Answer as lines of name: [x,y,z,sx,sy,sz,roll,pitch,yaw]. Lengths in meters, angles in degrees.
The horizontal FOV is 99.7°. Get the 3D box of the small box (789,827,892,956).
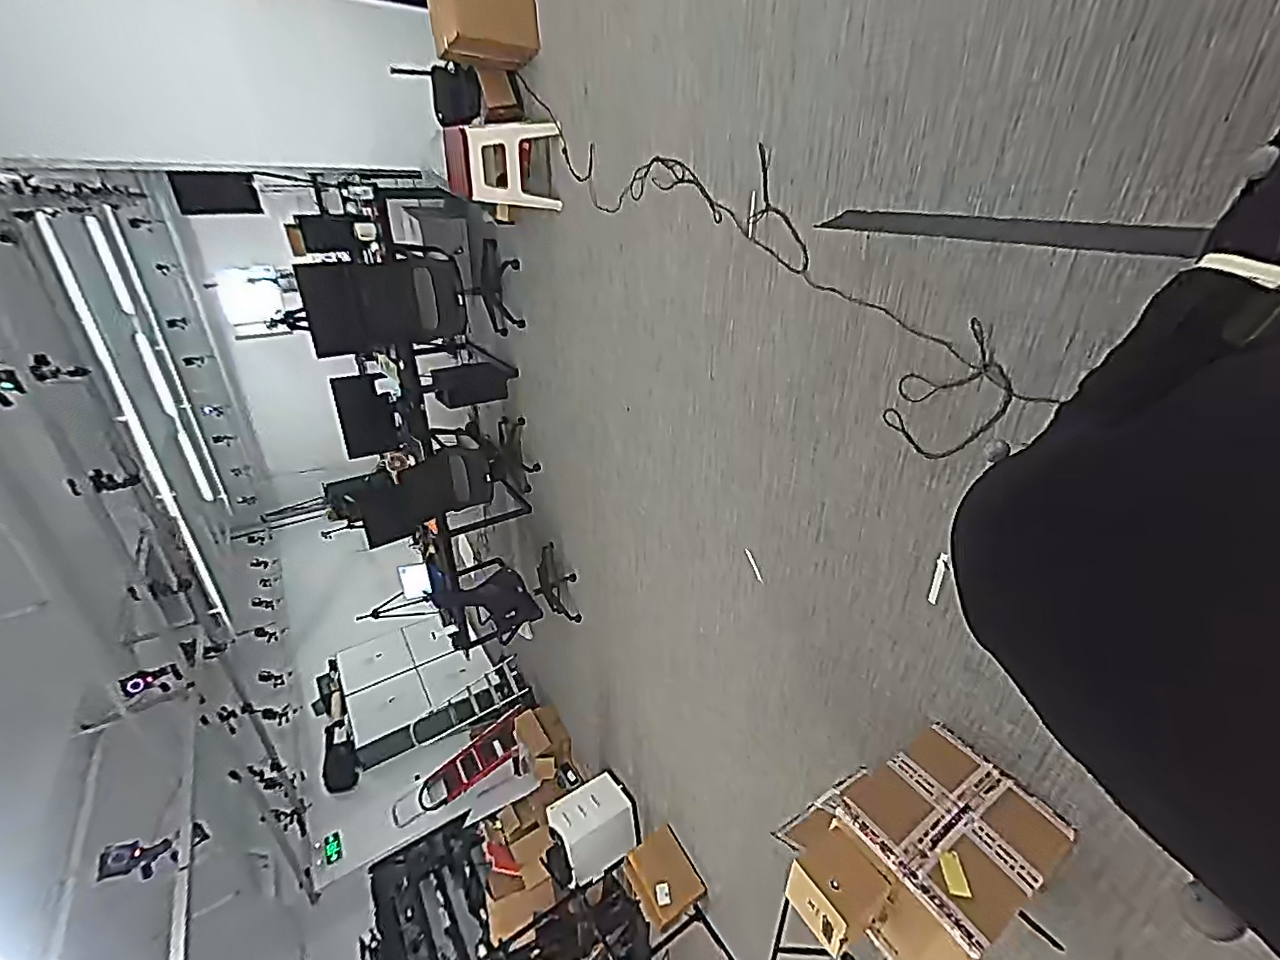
small box: [0.521,1.061,1.408,0.179,0.176,0.168,37,133,49]
